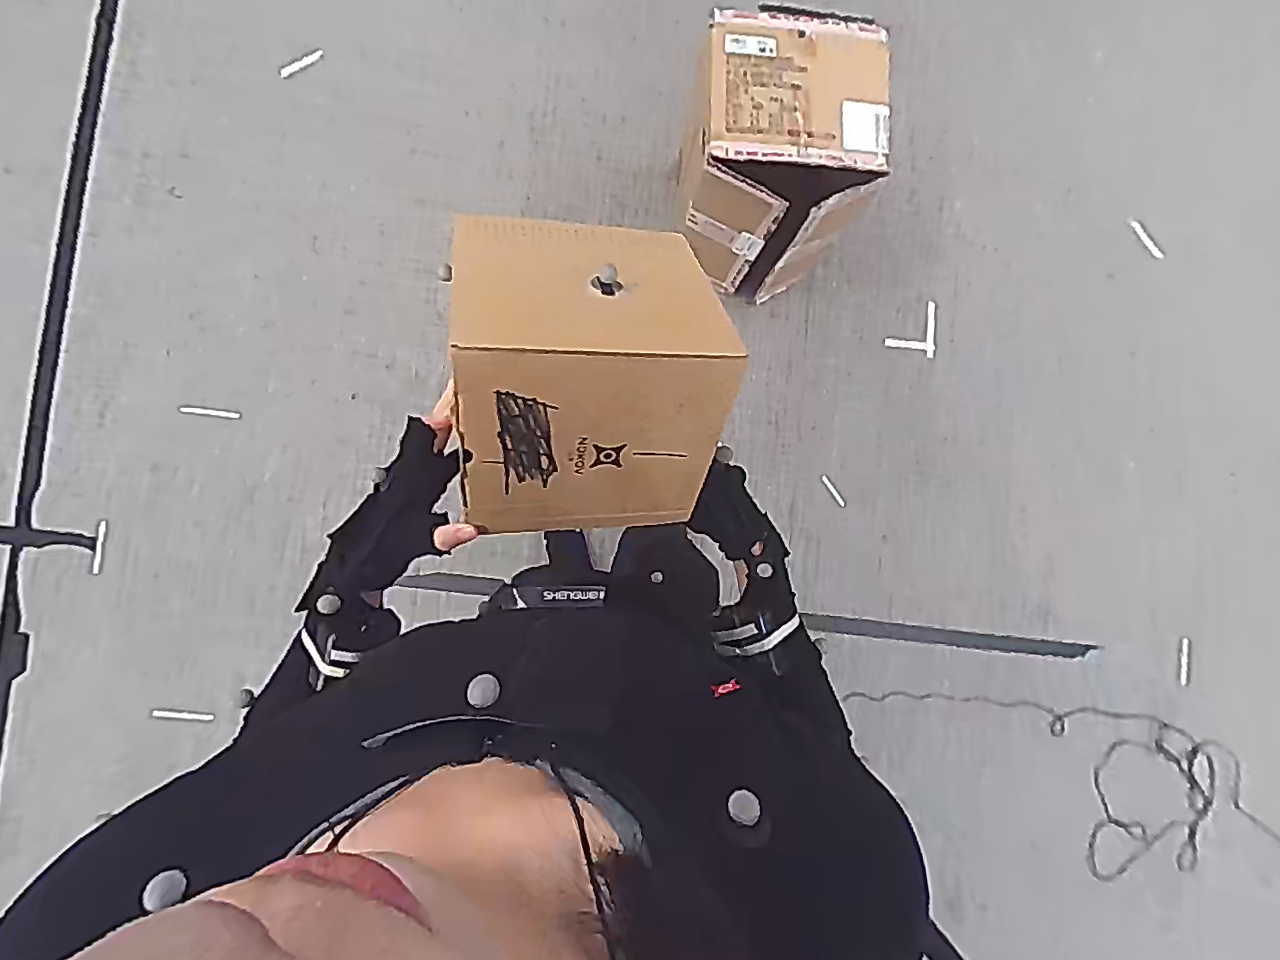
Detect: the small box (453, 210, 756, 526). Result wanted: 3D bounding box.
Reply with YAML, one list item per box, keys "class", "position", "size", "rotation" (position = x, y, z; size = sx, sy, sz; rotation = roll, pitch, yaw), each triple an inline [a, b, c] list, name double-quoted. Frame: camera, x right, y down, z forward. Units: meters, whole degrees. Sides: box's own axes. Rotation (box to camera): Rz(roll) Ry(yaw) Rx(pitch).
- class: "small box"
  position: [-0.044, -0.083, 0.410]
  size: [0.179, 0.168, 0.176]
  rotation: [-2, 49, -17]
